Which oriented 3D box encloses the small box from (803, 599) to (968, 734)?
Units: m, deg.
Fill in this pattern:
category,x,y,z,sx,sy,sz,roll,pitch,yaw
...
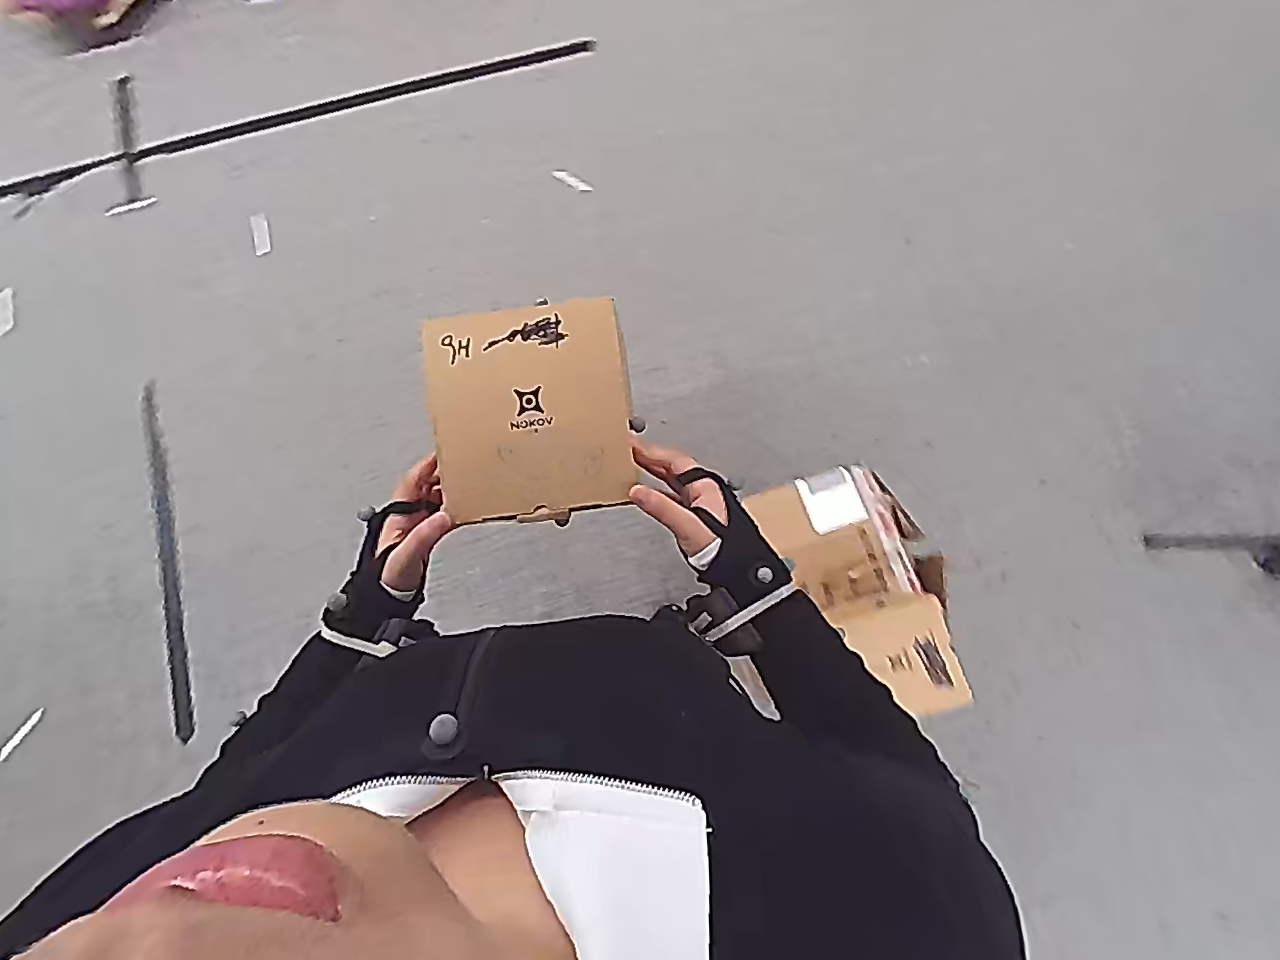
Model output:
category,x,y,z,sx,sy,sz,roll,pitch,yaw
small box,0.401,0.302,0.915,0.179,0.176,0.168,-14,80,-1
